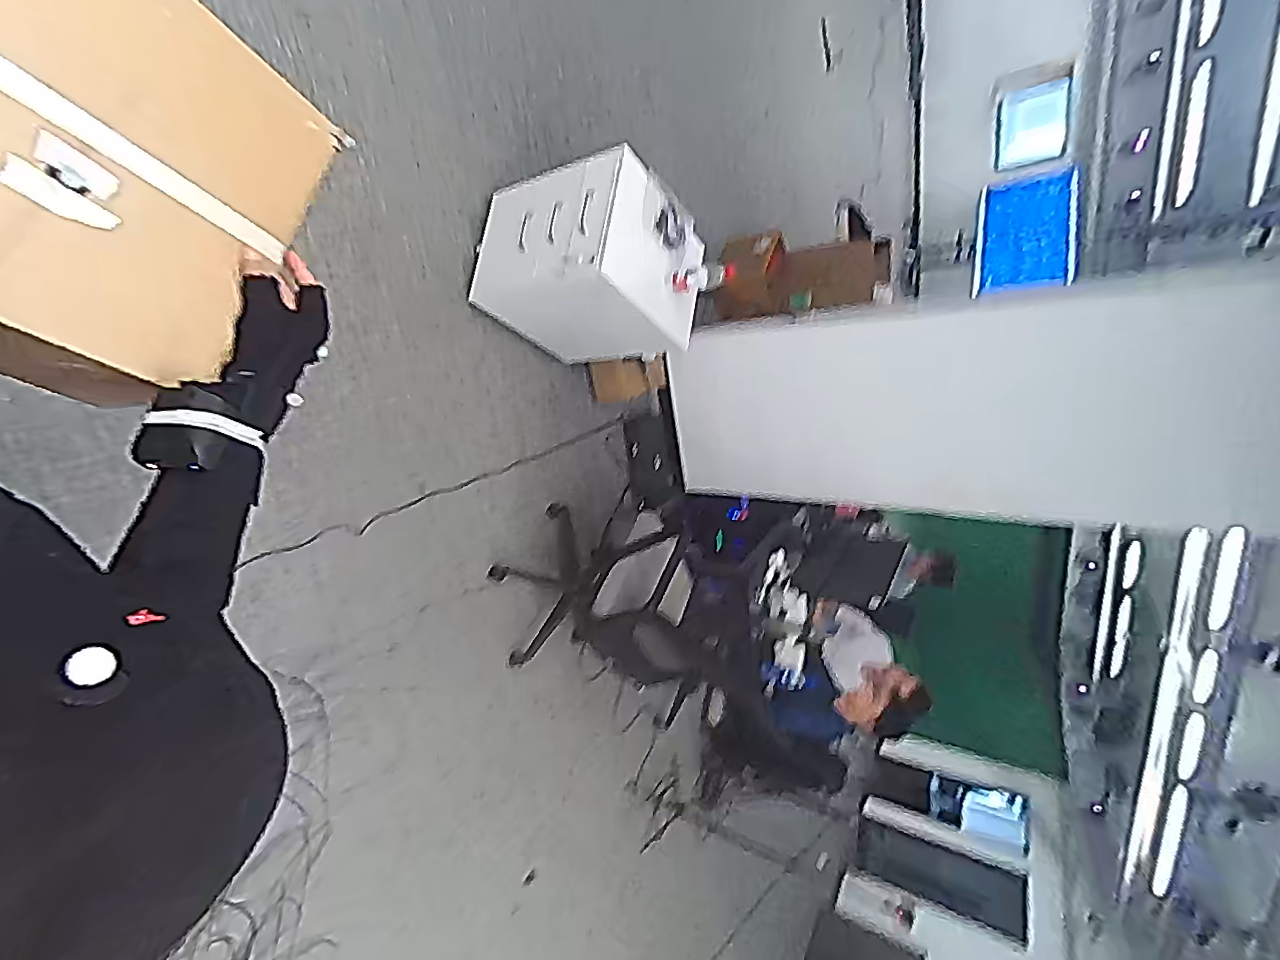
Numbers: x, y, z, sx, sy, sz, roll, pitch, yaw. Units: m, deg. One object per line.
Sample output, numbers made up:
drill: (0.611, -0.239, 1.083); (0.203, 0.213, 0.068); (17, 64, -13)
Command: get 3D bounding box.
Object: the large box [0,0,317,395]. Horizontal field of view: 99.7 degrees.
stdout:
large box: (-0.585, -0.293, 0.438); (0.408, 0.320, 0.320); (33, 67, -54)
